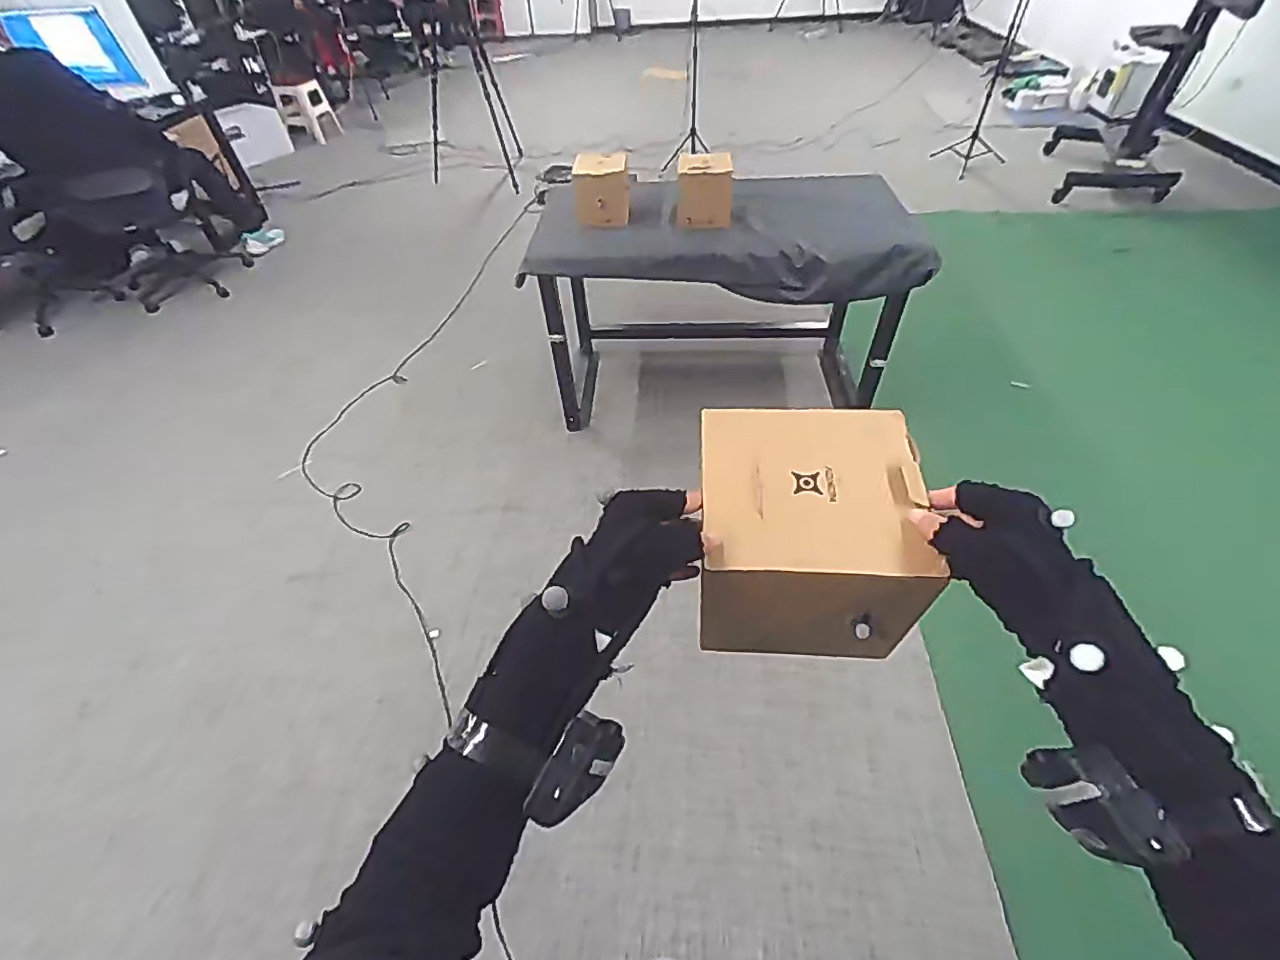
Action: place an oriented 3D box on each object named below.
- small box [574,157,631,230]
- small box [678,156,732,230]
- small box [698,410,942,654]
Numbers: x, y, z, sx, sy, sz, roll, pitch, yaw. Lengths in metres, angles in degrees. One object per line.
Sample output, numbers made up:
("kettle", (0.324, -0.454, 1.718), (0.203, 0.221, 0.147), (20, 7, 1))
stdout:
("small box", (-0.117, -0.940, 1.784), (0.168, 0.176, 0.179), (-1, 48, 3))
("small box", (0.211, -0.920, 1.741), (0.168, 0.176, 0.179), (2, 46, 6))
("small box", (0.143, 0.052, 0.503), (0.179, 0.176, 0.168), (-1, 52, 7))
